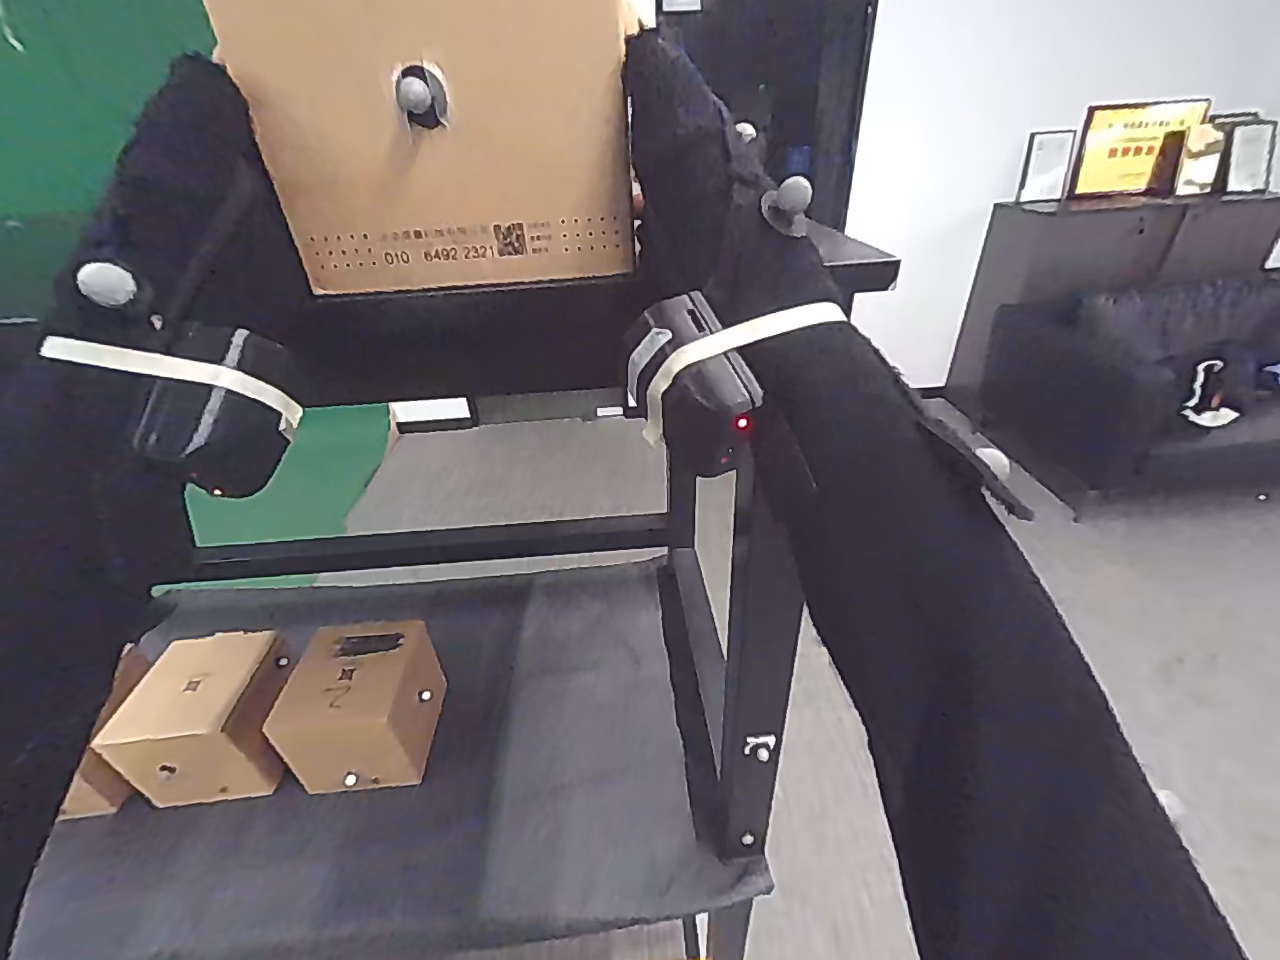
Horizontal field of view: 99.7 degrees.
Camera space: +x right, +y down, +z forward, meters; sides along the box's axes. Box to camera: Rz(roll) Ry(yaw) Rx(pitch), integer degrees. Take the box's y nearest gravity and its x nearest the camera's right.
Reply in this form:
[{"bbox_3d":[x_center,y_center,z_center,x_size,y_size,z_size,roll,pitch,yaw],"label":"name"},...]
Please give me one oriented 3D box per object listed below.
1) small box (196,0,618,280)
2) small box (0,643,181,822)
[{"bbox_3d":[-0.100,-0.215,0.303,0.168,0.176,0.179,-4,33,-1],"label":"small box"},{"bbox_3d":[-0.847,0.374,0.812,0.168,0.176,0.179,-6,33,-3],"label":"small box"}]
